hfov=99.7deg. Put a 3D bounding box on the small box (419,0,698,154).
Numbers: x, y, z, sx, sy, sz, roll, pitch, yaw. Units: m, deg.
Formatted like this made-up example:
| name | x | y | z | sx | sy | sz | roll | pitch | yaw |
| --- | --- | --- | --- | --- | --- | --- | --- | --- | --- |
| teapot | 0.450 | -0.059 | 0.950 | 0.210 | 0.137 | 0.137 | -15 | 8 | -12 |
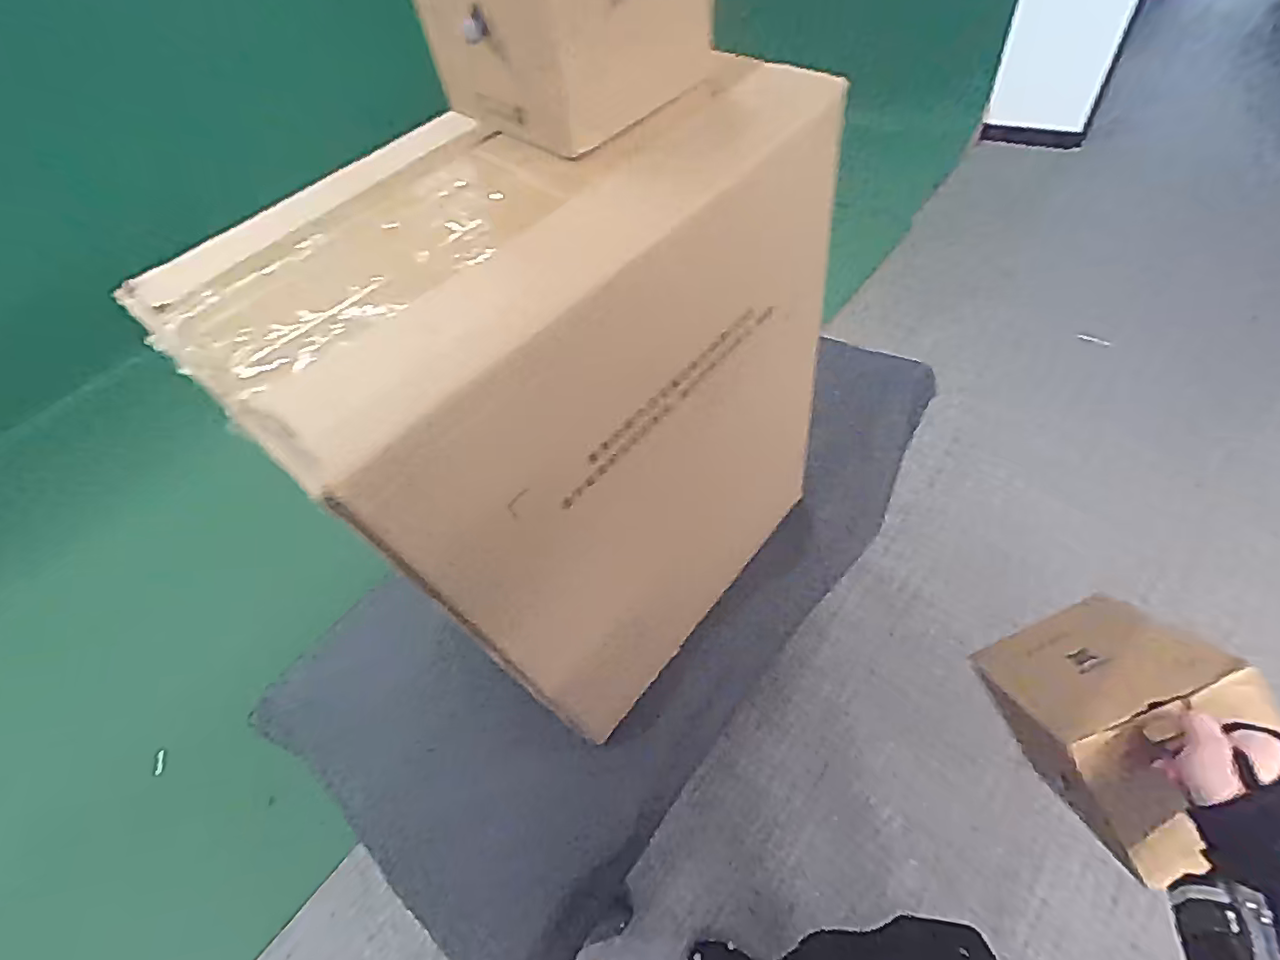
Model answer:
| name | x | y | z | sx | sy | sz | roll | pitch | yaw |
| --- | --- | --- | --- | --- | --- | --- | --- | --- | --- |
| small box | -0.064 | -0.394 | 0.428 | 0.168 | 0.176 | 0.179 | 35 | 67 | 25 |
